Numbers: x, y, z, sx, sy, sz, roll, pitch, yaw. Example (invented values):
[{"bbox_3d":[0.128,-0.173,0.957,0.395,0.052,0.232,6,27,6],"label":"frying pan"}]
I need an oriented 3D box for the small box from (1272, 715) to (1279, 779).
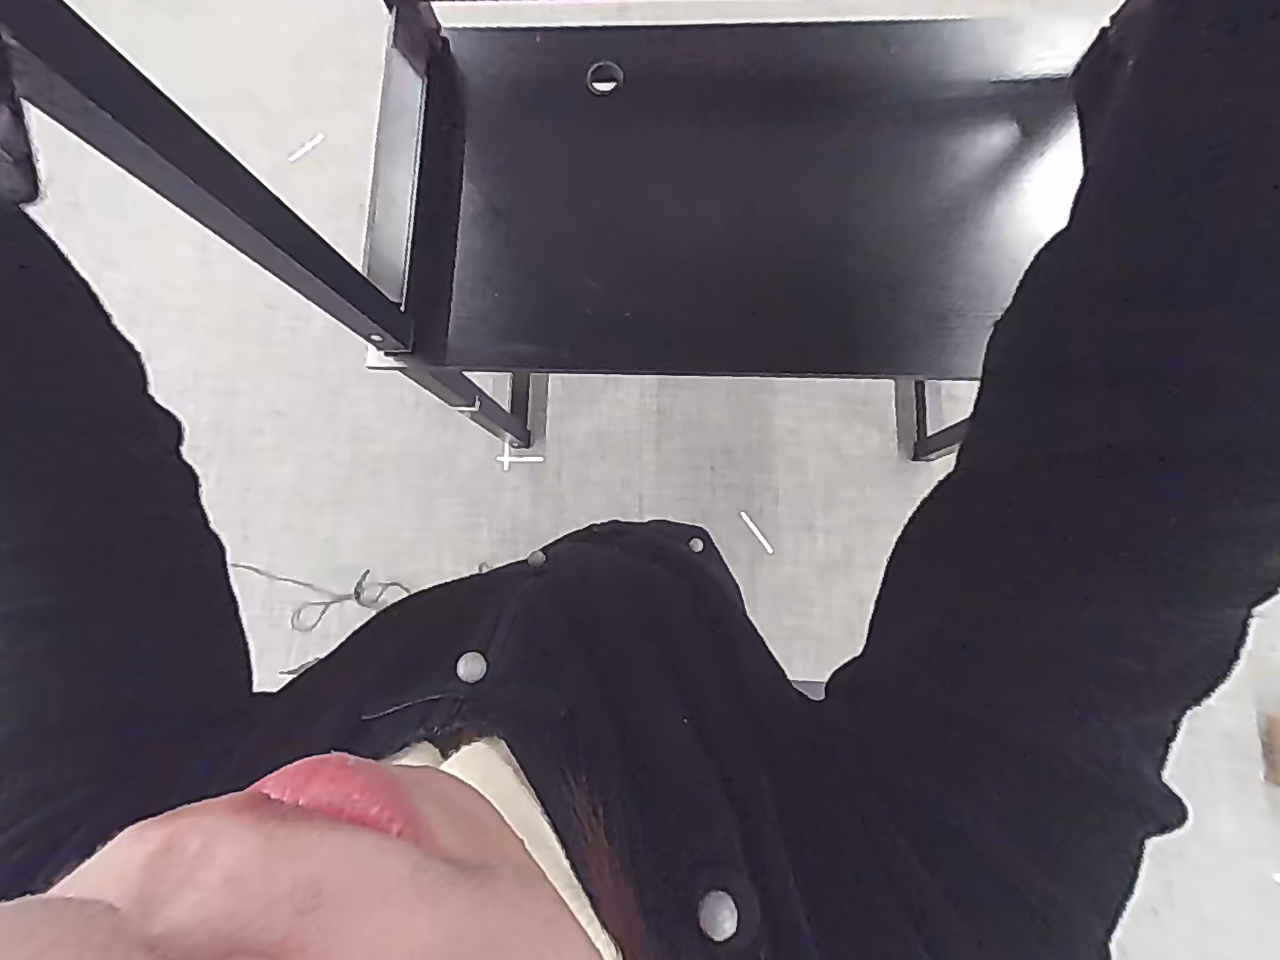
[{"bbox_3d":[1.650,0.668,1.257,0.168,0.176,0.179,1,83,3],"label":"small box"}]
